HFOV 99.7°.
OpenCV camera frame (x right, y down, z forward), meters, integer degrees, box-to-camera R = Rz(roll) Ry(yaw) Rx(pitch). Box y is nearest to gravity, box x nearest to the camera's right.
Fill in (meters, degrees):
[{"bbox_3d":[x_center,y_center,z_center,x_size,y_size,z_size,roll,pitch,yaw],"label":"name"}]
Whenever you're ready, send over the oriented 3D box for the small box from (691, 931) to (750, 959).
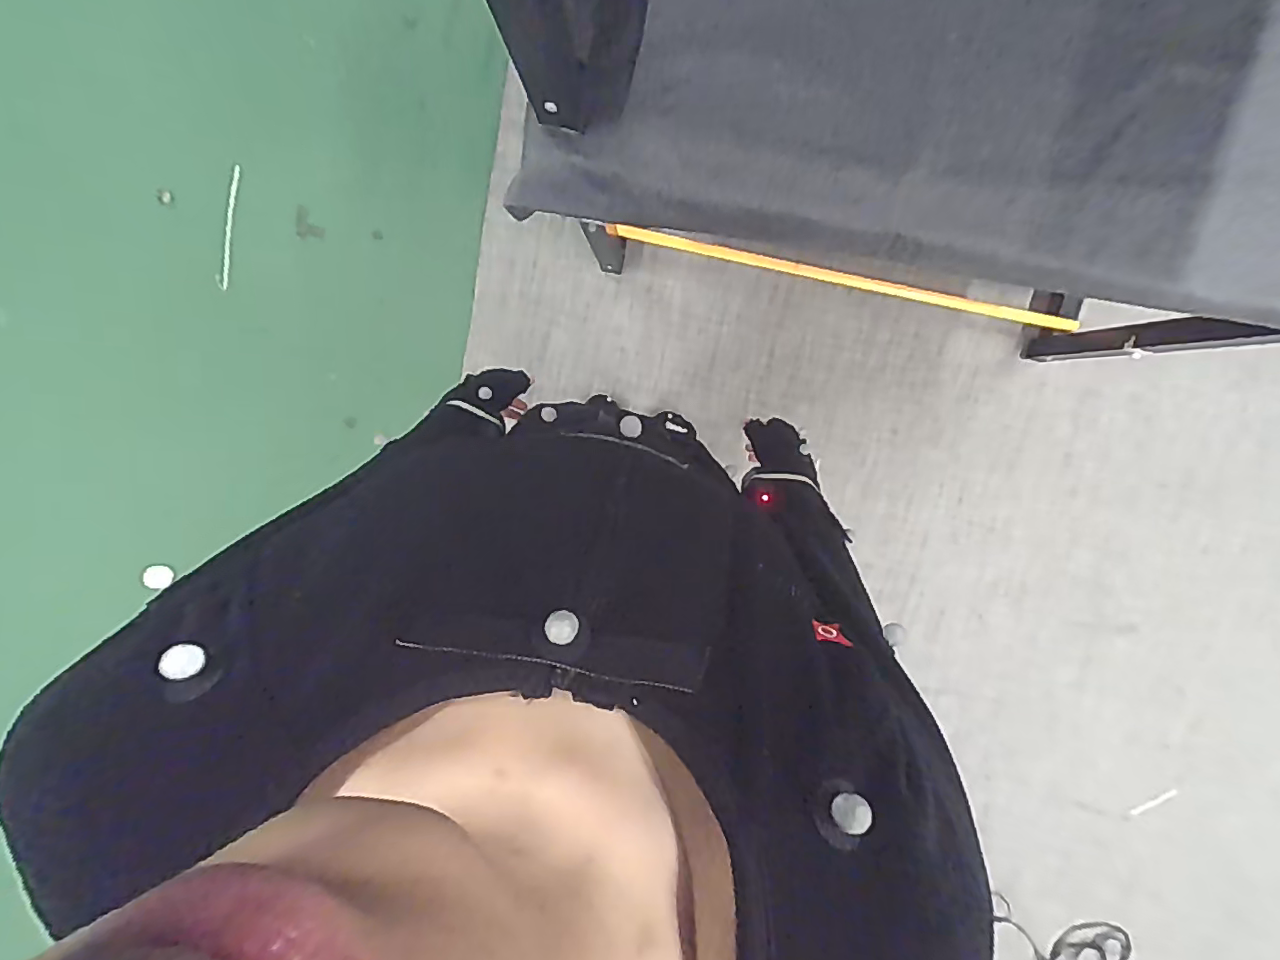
[{"bbox_3d":[0.248,1.541,1.648,0.168,0.176,0.179,10,98,0],"label":"small box"}]
